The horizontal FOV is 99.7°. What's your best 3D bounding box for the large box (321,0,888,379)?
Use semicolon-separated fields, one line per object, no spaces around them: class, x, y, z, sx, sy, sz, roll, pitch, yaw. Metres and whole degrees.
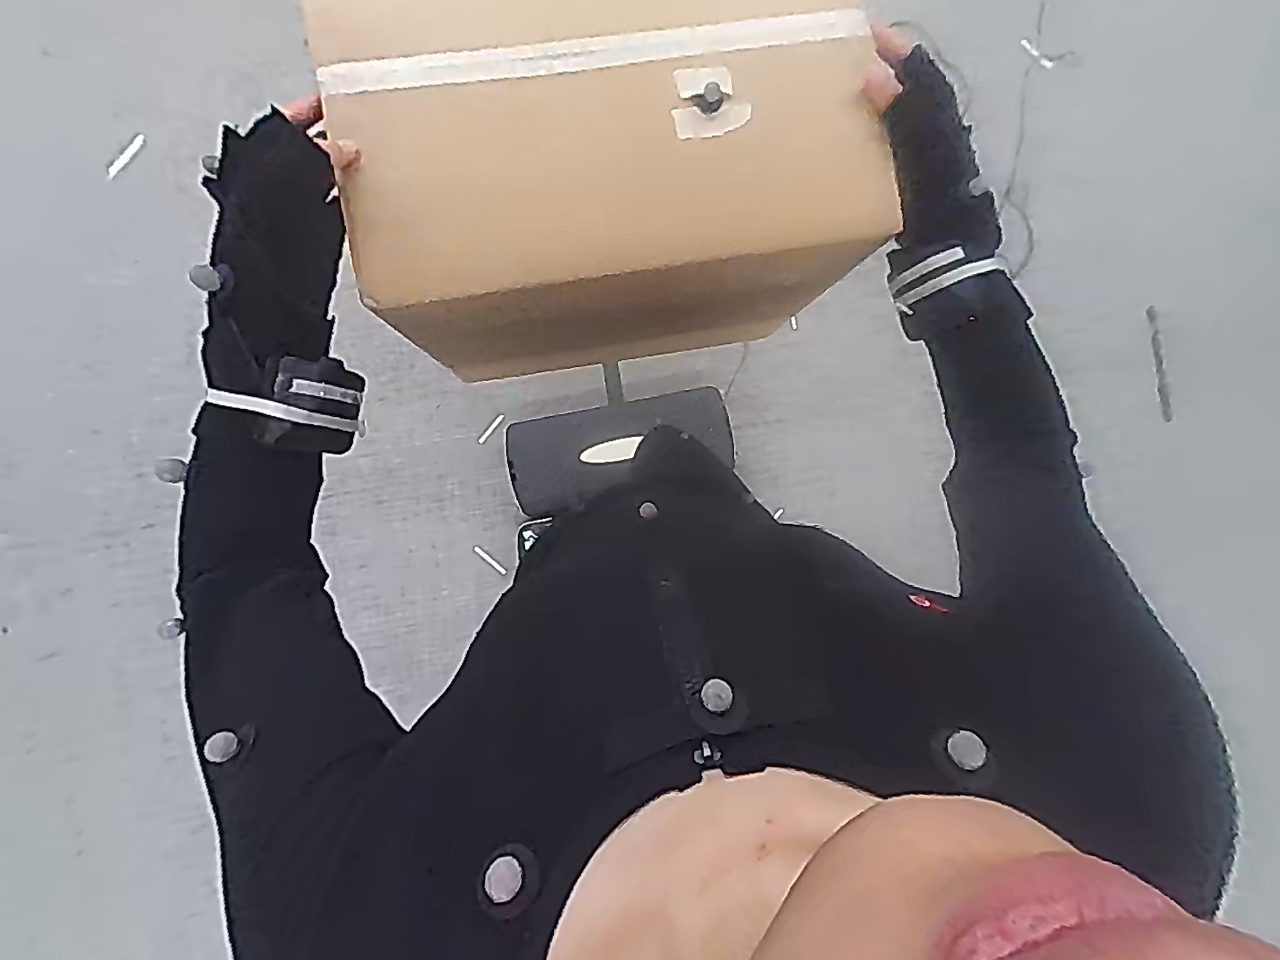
large box;-0.039;-0.315;0.556;0.408;0.320;0.320;-11;92;-6

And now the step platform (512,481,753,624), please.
step platform;-0.020;0.203;1.572;0.684;0.204;0.286;-12;89;-4
